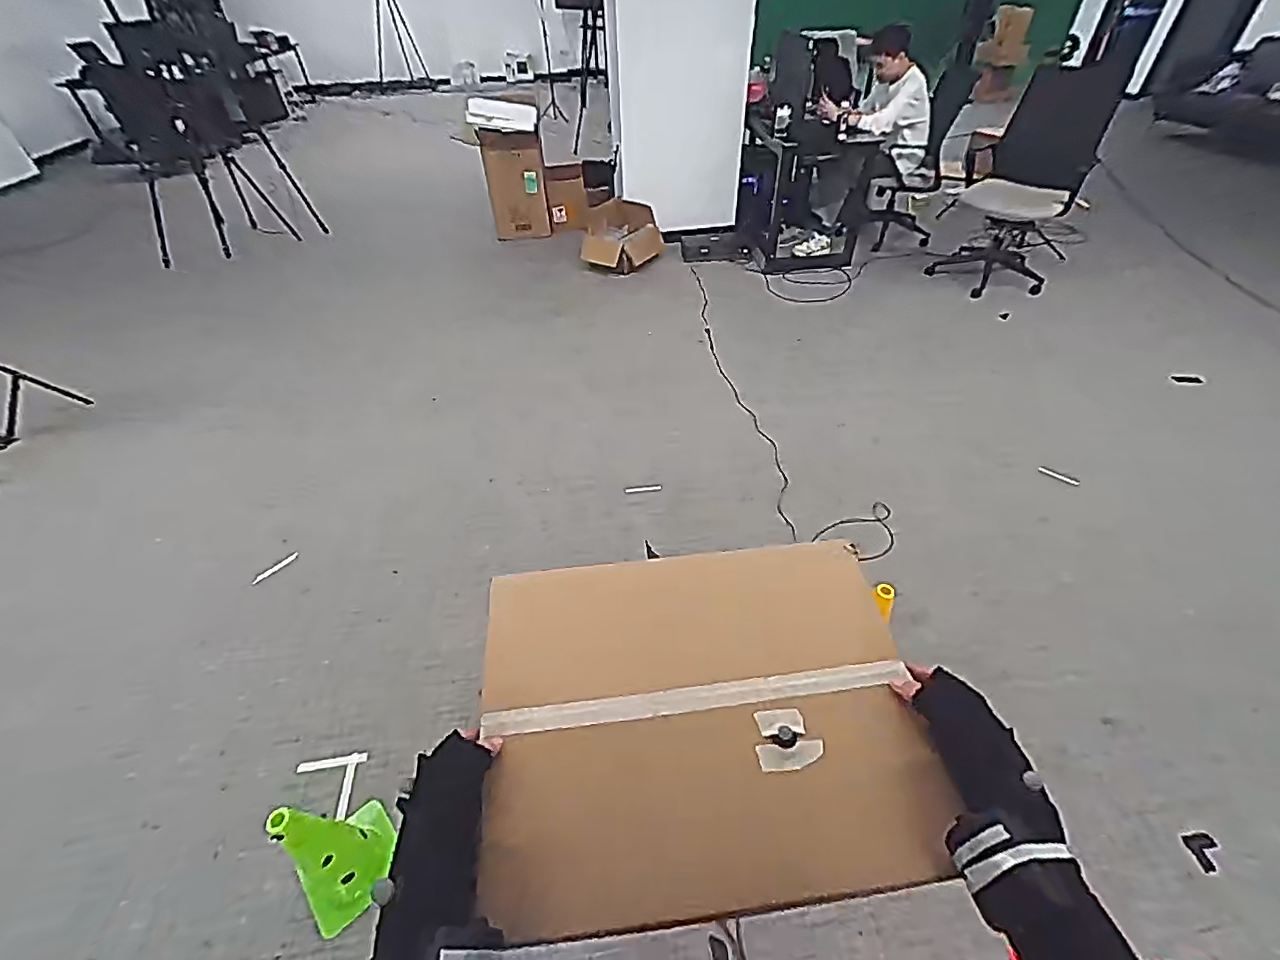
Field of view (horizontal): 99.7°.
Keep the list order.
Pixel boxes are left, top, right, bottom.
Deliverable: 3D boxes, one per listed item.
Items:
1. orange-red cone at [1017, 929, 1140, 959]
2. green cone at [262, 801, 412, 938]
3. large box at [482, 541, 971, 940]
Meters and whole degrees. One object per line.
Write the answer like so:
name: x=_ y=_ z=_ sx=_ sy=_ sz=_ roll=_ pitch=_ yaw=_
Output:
orange-red cone: x=0.859 y=0.875 z=0.923 sx=0.198 sy=0.360 sz=0.199 roll=-7 pitch=42 yaw=-6
green cone: x=-0.662 y=0.761 z=1.122 sx=0.202 sy=0.368 sz=0.200 roll=-36 pitch=52 yaw=-28
large box: x=0.056 y=0.302 z=0.629 sx=0.408 sy=0.320 sz=0.320 roll=-5 pitch=50 yaw=-4
